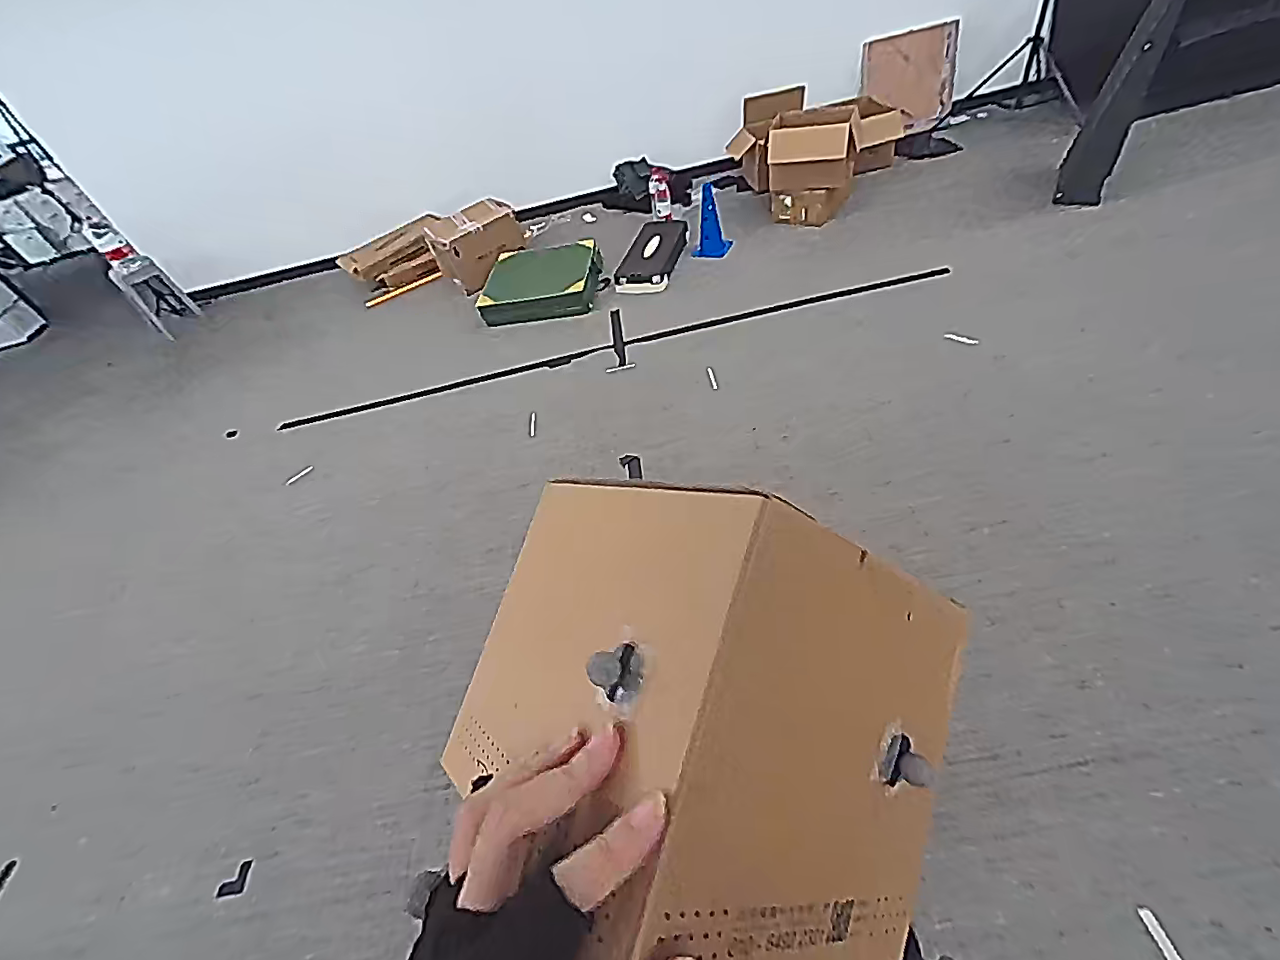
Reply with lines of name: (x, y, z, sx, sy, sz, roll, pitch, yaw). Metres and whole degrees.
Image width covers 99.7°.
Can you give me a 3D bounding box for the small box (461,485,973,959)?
small box: (0.031, 0.112, 0.282, 0.179, 0.168, 0.176, 2, 69, 56)
